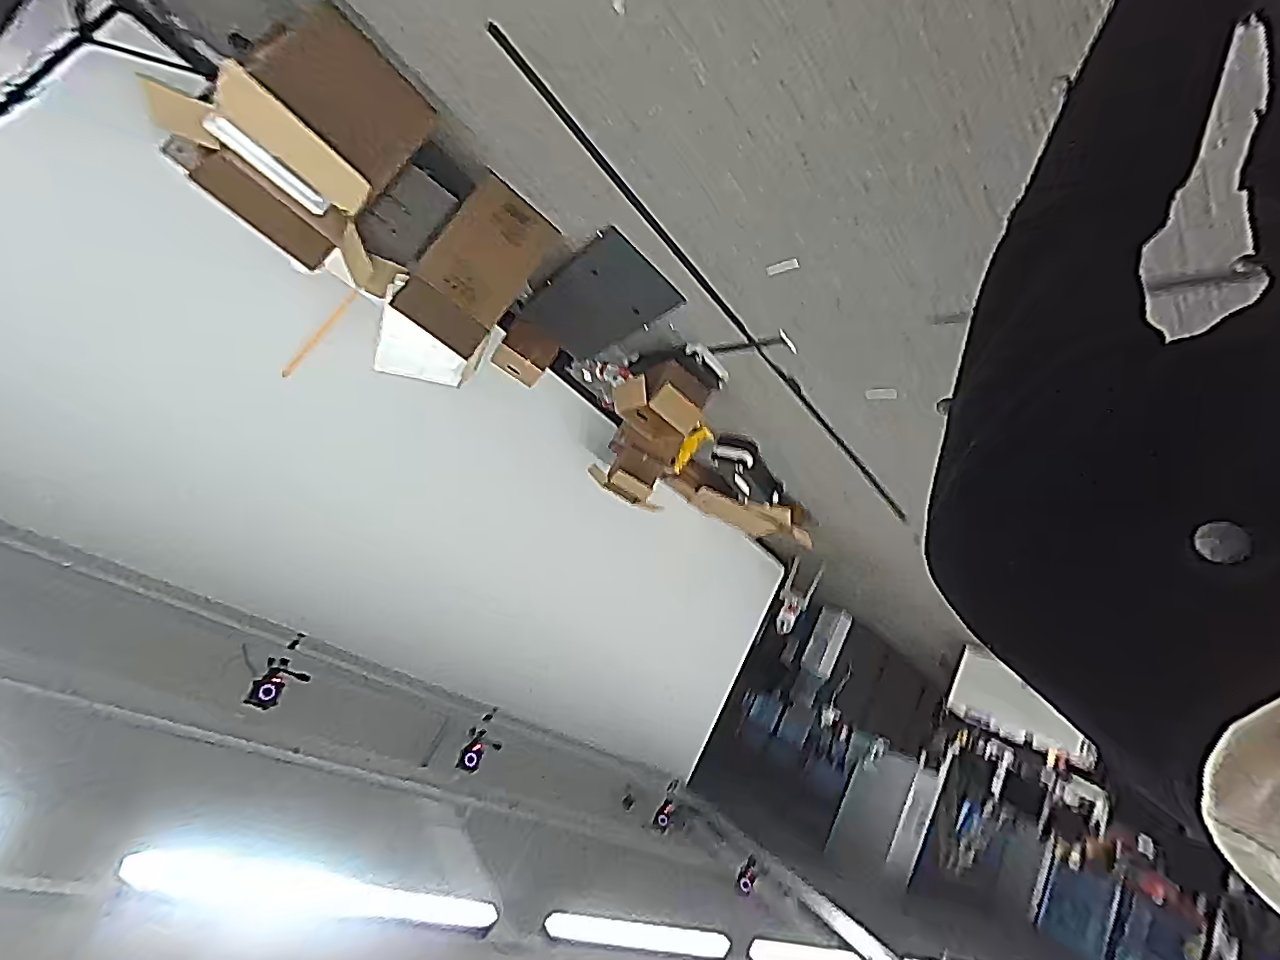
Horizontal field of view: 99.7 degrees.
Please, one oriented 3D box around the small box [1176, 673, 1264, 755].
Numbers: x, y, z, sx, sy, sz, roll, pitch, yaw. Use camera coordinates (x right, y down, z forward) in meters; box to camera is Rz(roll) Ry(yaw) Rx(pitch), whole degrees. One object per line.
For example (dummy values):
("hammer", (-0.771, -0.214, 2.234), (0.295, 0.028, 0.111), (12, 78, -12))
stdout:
("small box", (1.863, 0.744, 1.735), (0.168, 0.176, 0.179), (39, 162, -34))
